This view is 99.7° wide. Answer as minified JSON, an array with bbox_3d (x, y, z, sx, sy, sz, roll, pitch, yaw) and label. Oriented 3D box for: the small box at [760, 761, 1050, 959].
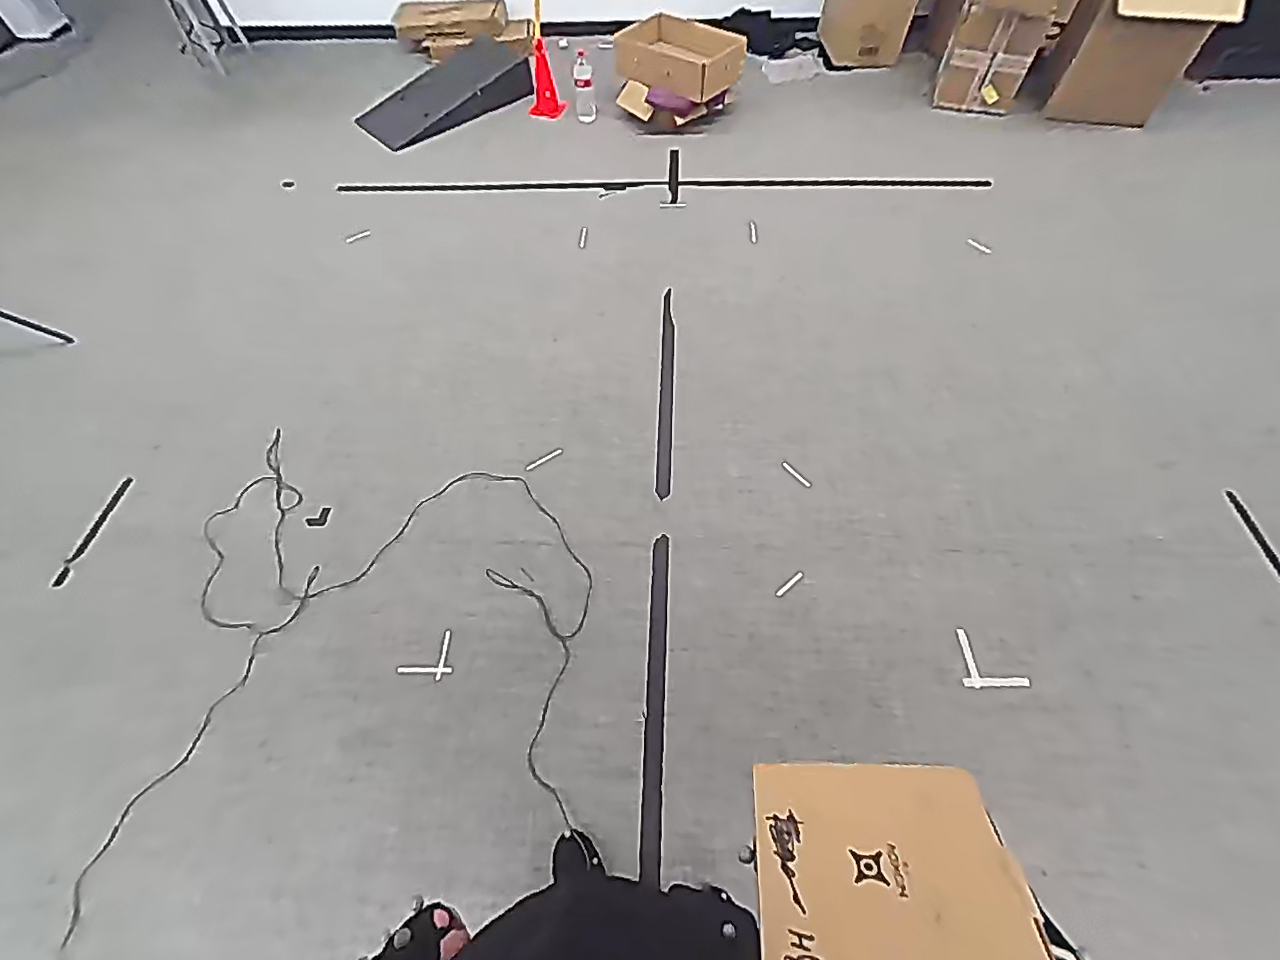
[{"bbox_3d":[0.188,0.355,0.425,0.179,0.176,0.168,-4,23,12],"label":"small box"}]
